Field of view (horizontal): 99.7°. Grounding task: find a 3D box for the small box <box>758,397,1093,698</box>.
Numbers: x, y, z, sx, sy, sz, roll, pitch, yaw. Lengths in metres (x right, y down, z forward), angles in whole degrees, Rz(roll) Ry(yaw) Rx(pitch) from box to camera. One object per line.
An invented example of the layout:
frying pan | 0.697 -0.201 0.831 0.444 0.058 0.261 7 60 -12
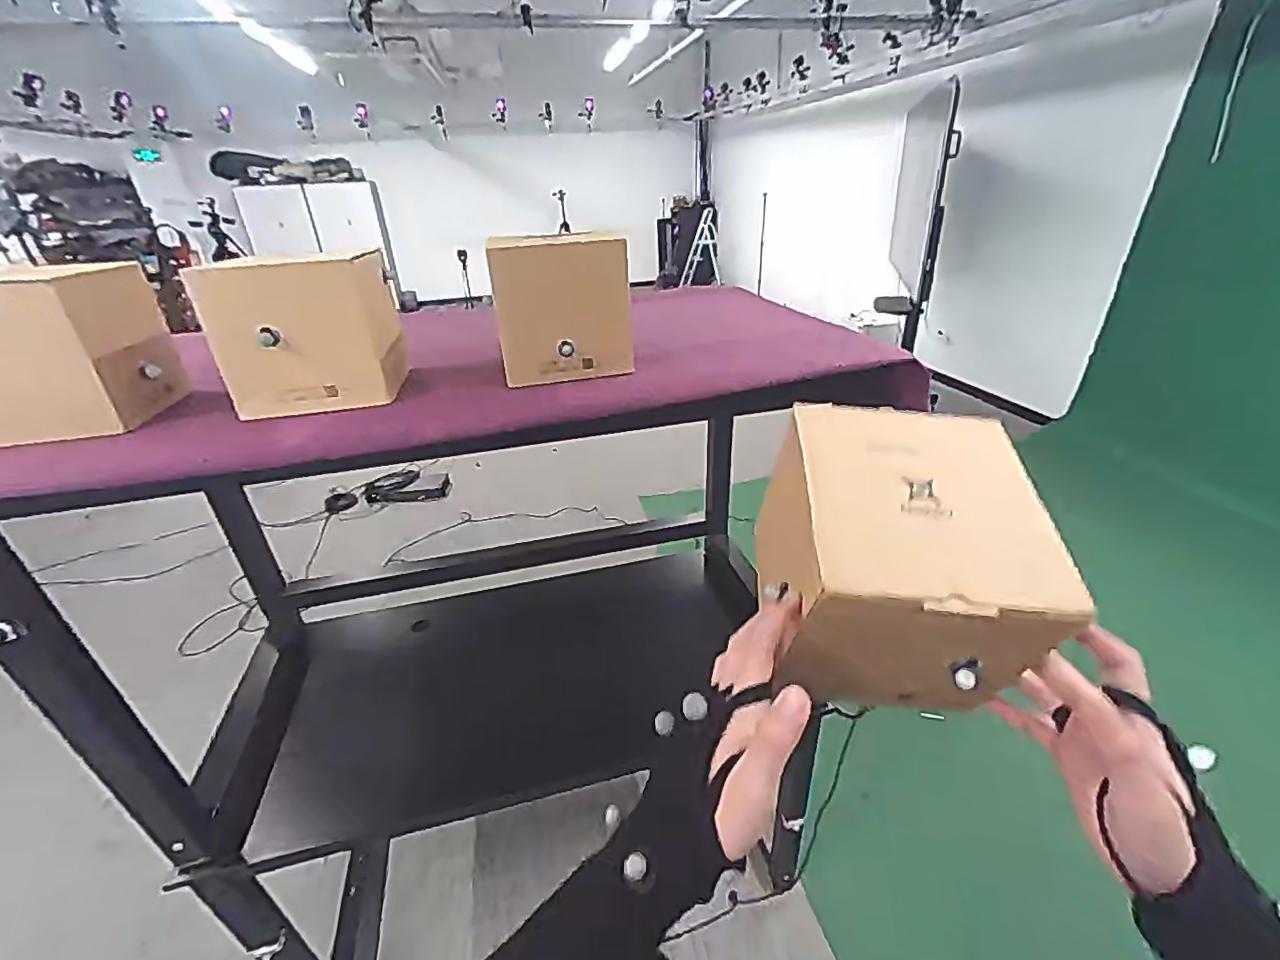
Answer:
small box | 0.193 0.058 0.435 0.168 0.176 0.179 5 49 2

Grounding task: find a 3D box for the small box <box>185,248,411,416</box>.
small box | -0.396 -0.184 0.669 0.168 0.176 0.179 -9 27 -10

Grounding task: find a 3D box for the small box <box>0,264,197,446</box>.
small box | -0.672 -0.146 0.620 0.179 0.176 0.168 -8 28 -11
